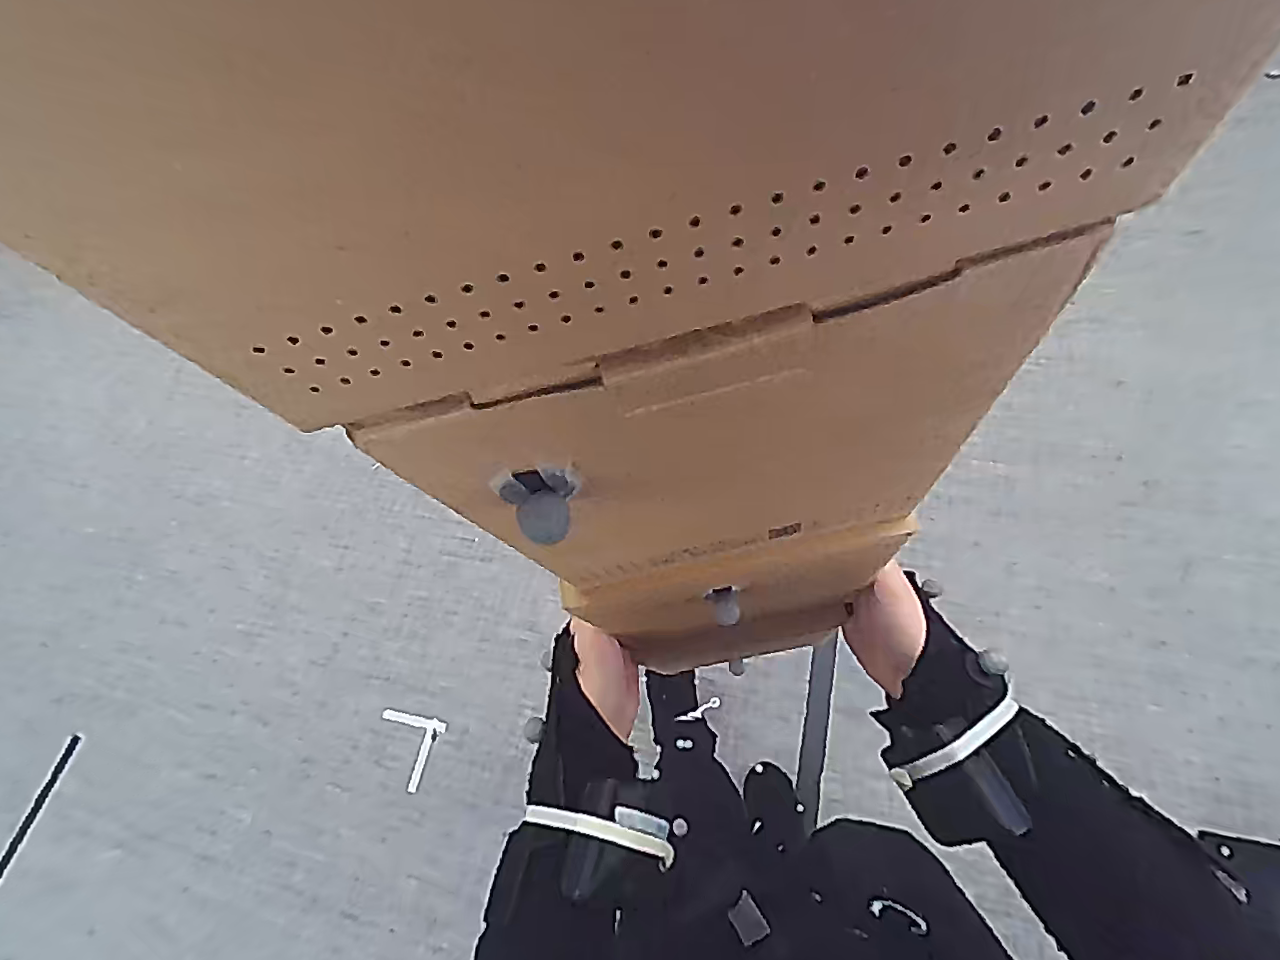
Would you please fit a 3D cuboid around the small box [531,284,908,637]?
[{"bbox_3d":[0.045,0.001,0.365,0.179,0.176,0.168,-14,66,7],"label":"small box"}]

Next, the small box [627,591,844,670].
[{"bbox_3d":[0.073,0.072,0.509,0.168,0.176,0.179,-14,66,7],"label":"small box"}]
